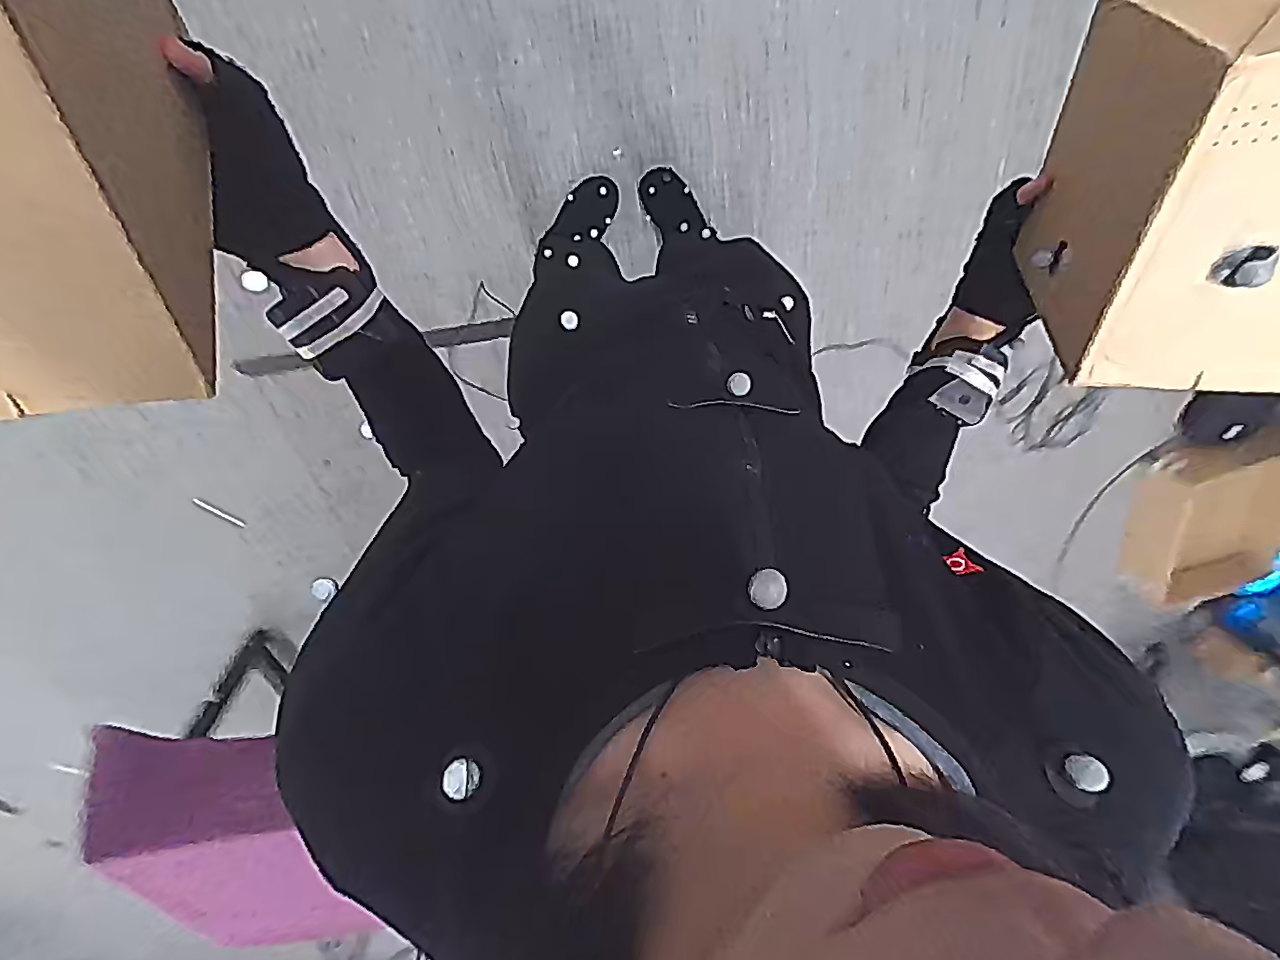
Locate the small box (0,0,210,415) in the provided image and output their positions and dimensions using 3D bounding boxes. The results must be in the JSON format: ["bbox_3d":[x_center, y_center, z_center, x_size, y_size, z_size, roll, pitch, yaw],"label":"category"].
[{"bbox_3d":[-0.250,-0.132,0.149,0.168,0.179,0.176,-10,157,-25],"label":"small box"}]
